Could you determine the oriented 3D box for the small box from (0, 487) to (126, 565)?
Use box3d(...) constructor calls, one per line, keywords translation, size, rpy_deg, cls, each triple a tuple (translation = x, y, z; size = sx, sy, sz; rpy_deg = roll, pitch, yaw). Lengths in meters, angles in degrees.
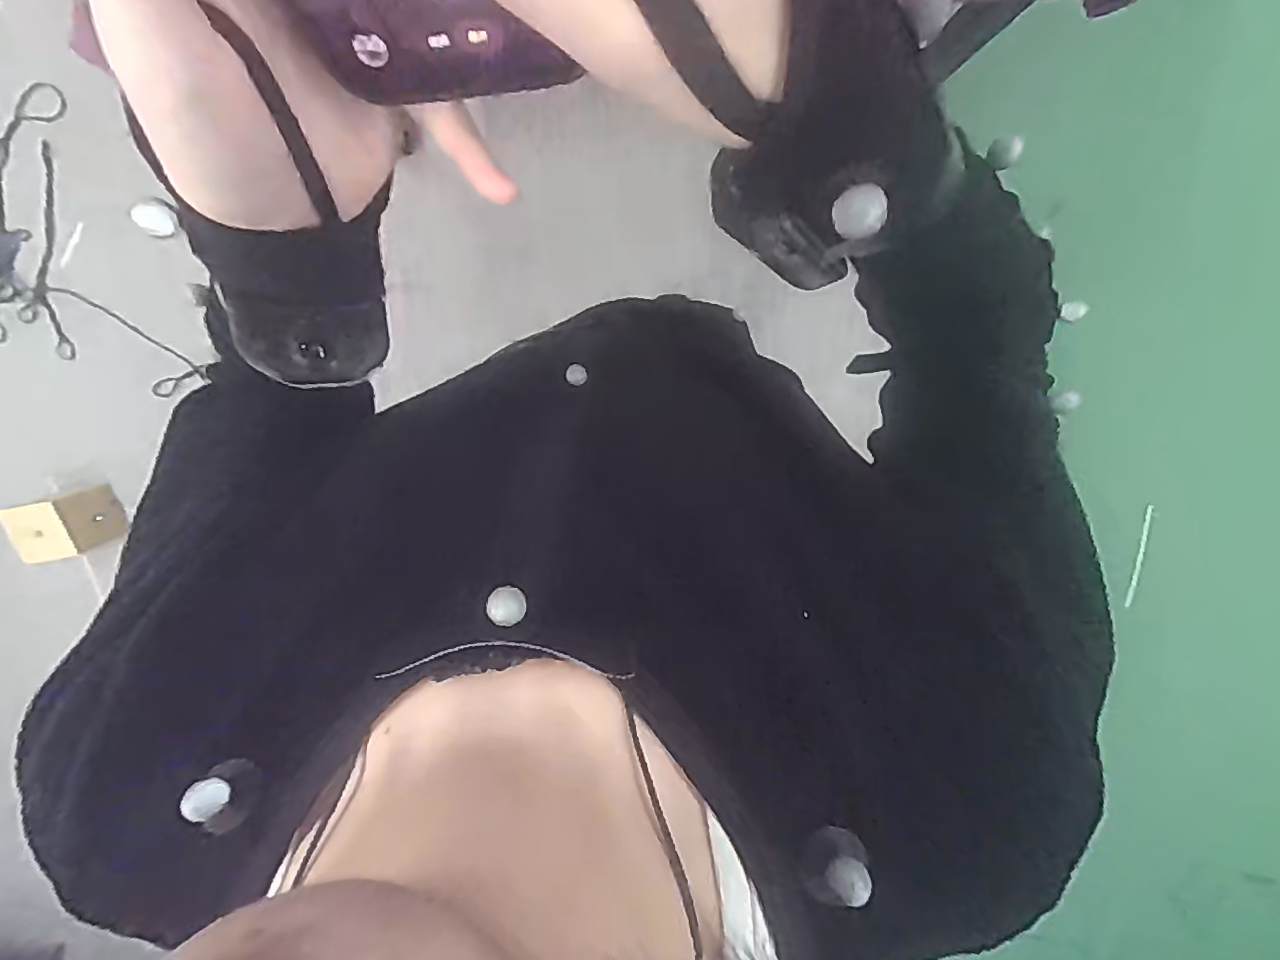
box3d(translation=(-1.659, 0.128, 1.571), size=(0.179, 0.176, 0.168), rpy_deg=(-9, 106, 6), cls="small box")
